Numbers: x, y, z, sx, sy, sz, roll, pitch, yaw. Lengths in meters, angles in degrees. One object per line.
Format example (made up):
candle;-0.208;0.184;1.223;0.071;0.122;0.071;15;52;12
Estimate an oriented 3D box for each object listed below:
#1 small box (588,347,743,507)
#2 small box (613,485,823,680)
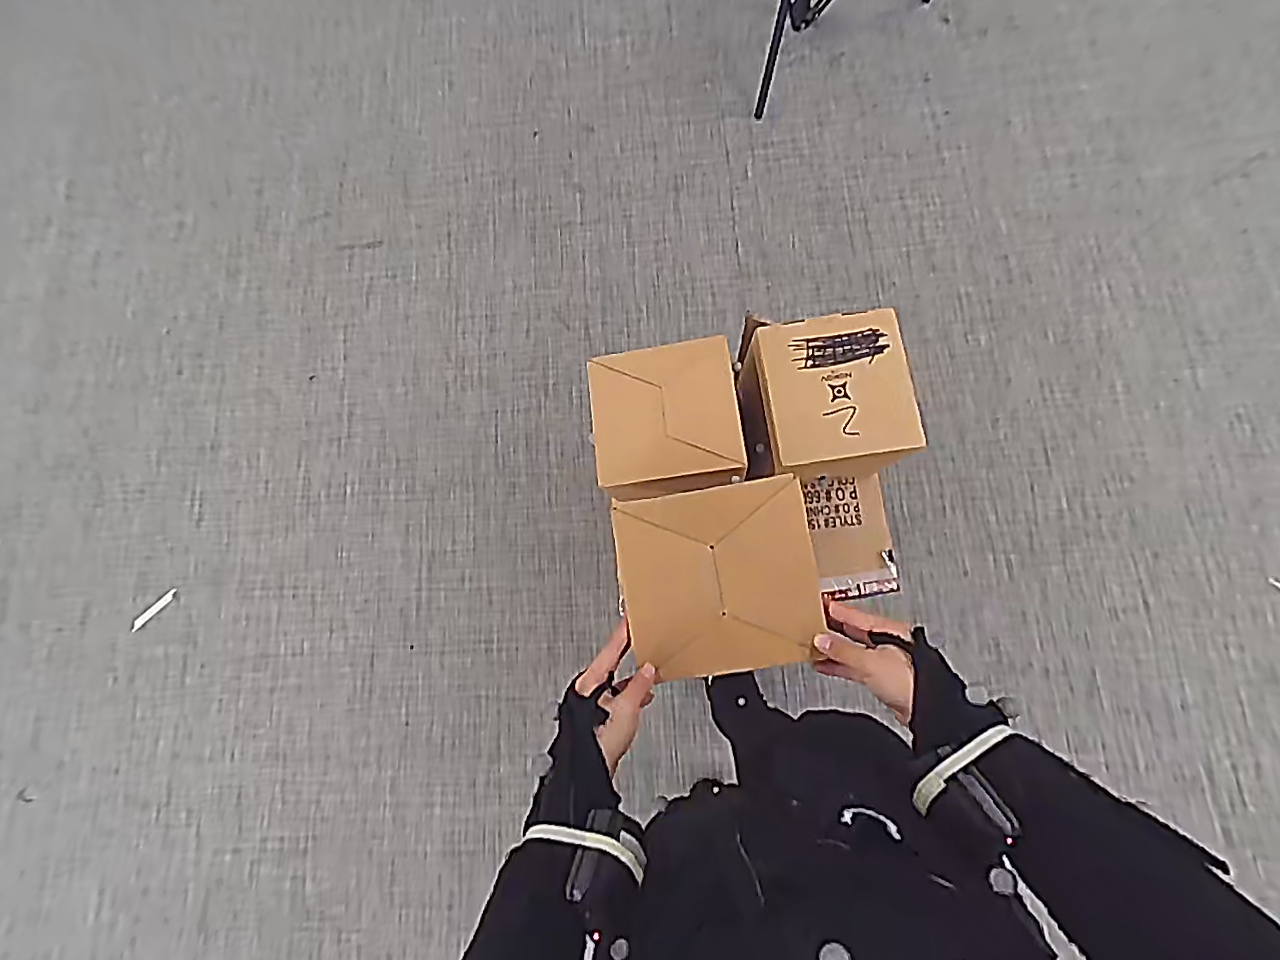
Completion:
small box;0.040;-0.064;0.727;0.179;0.176;0.168;-8;78;6
small box;0.074;0.099;0.572;0.179;0.176;0.168;-10;86;5
